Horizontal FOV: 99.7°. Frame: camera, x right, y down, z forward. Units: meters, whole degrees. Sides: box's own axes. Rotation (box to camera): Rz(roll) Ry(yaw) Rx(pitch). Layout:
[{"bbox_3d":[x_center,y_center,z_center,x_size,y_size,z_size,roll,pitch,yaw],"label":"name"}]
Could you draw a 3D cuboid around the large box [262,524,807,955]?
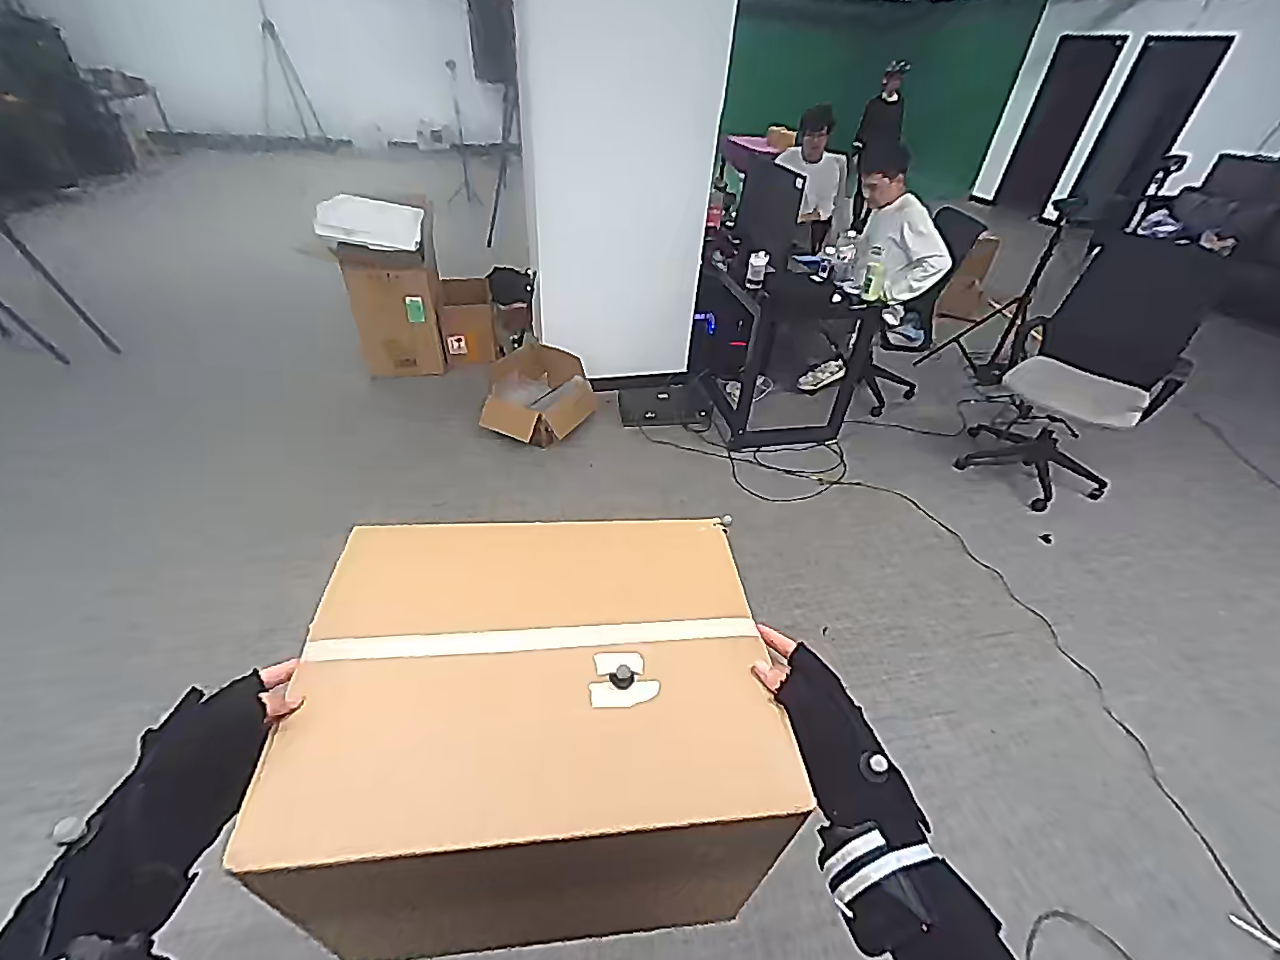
[{"bbox_3d":[-0.096,0.266,0.599,0.408,0.320,0.320,0,40,-9],"label":"large box"}]
